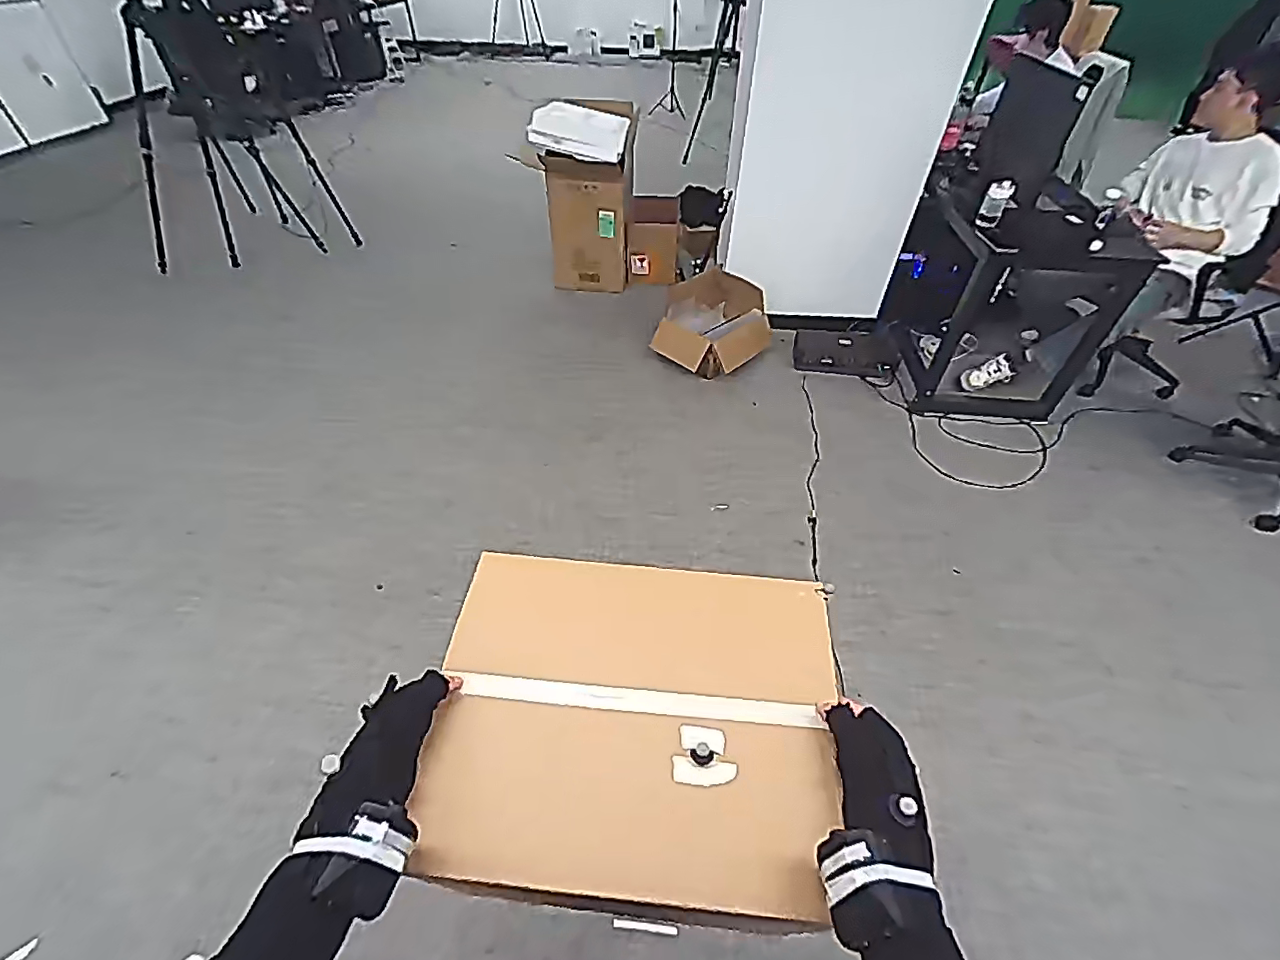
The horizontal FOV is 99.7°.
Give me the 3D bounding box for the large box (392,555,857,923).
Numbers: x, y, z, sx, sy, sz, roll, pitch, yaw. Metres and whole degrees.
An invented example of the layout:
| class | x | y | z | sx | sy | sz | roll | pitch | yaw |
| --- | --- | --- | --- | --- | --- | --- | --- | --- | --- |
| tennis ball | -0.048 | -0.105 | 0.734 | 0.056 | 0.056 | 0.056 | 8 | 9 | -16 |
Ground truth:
| class | x | y | z | sx | sy | sz | roll | pitch | yaw |
| --- | --- | --- | --- | --- | --- | --- | --- | --- | --- |
| large box | -0.008 | 0.318 | 0.660 | 0.408 | 0.320 | 0.320 | 5 | 50 | 3 |
